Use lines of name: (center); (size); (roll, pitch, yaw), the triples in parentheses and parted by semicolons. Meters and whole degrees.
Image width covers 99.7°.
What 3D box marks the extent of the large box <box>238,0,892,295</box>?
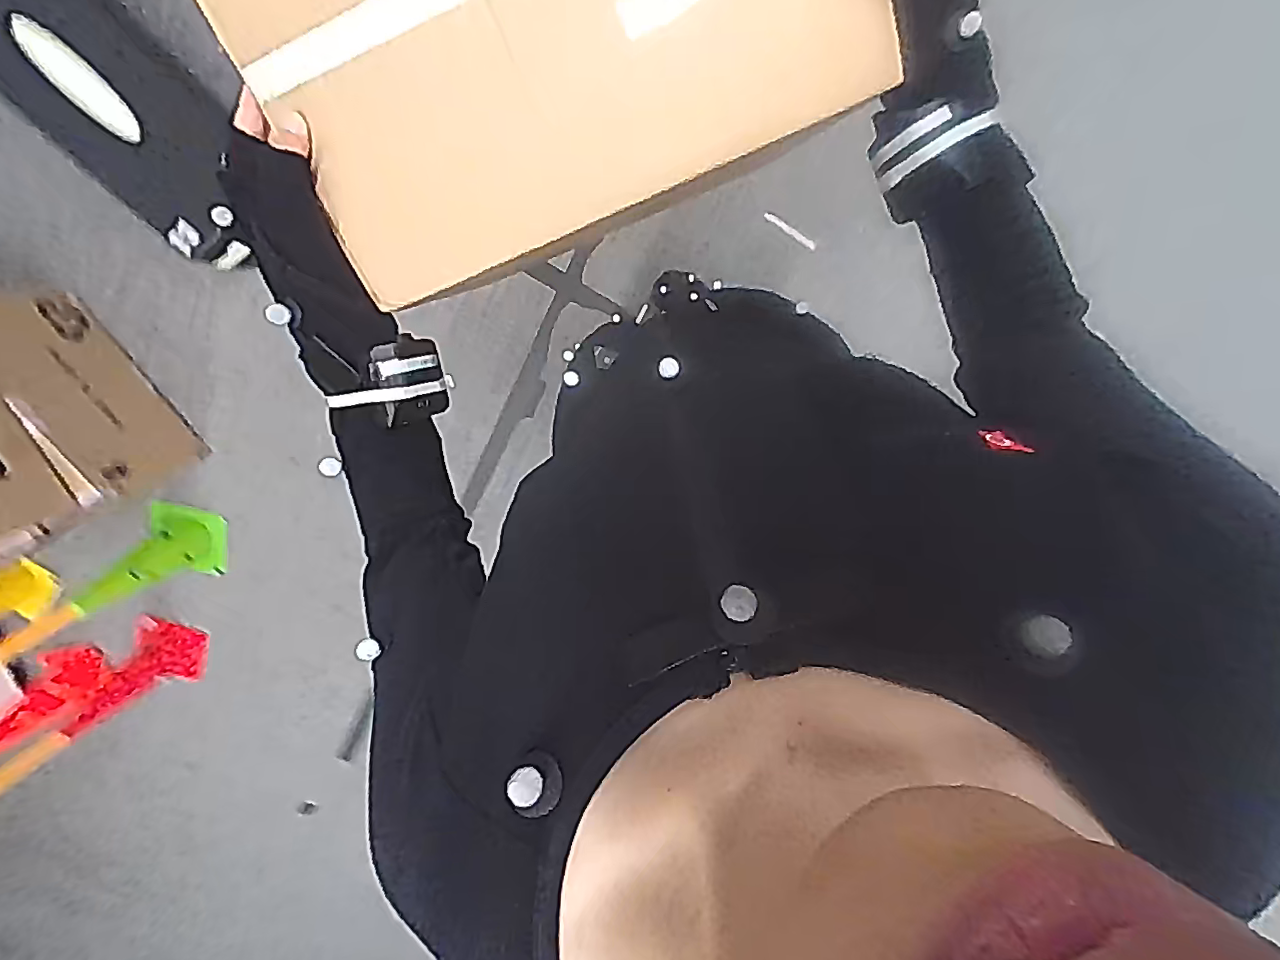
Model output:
large box: (-0.066, -0.395, 0.483); (0.408, 0.320, 0.320); (-19, 112, 7)
